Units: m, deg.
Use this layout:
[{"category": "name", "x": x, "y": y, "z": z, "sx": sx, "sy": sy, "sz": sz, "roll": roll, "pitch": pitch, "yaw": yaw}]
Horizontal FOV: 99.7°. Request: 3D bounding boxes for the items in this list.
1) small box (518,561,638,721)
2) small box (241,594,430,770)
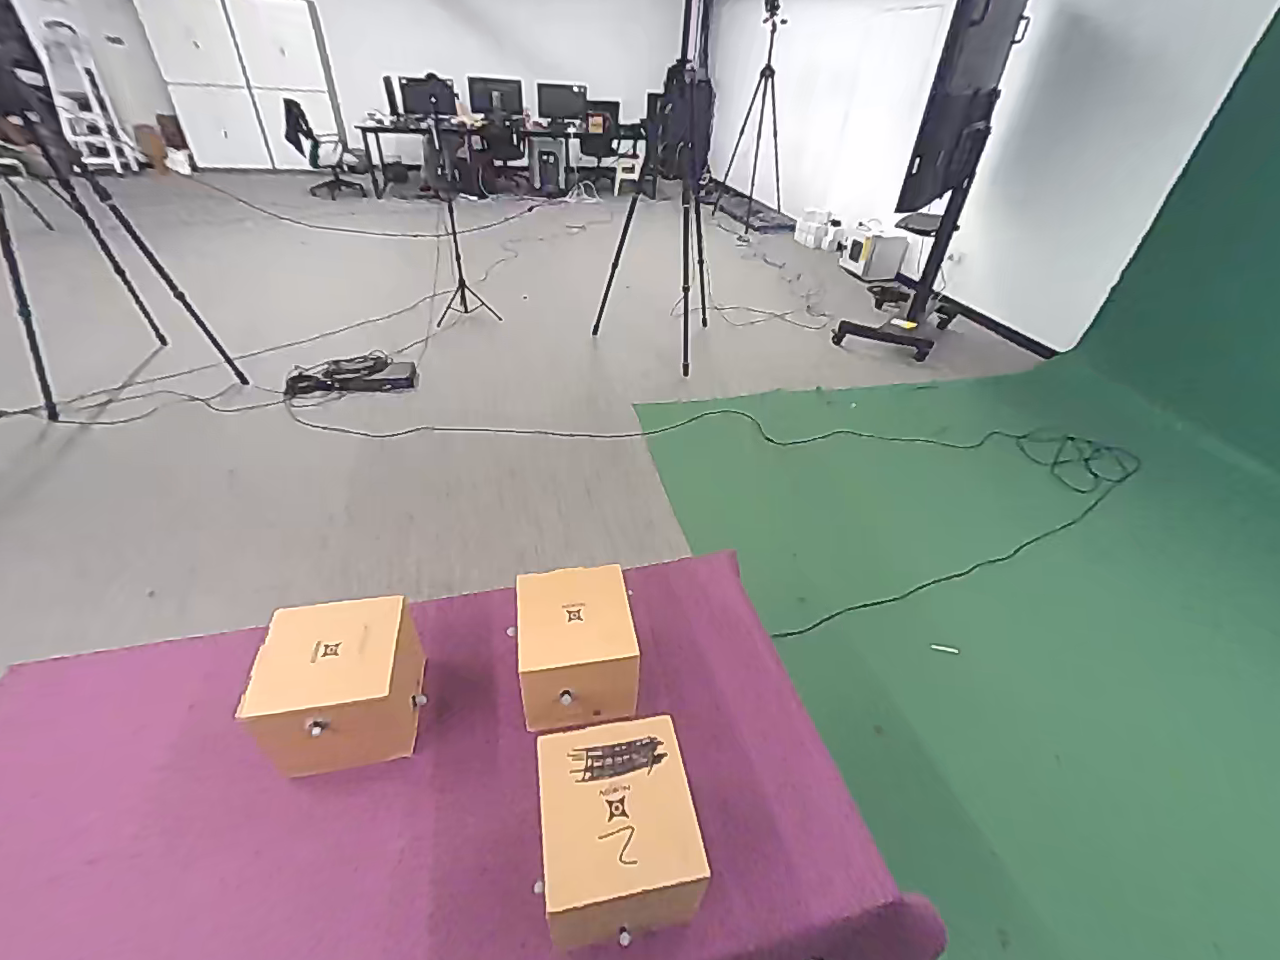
[{"category": "small box", "x": -0.097, "y": 0.253, "z": 0.842, "sx": 0.168, "sy": 0.176, "sz": 0.179, "roll": -5, "pitch": 38, "yaw": -10}, {"category": "small box", "x": -0.417, "y": 0.290, "z": 0.777, "sx": 0.179, "sy": 0.176, "sz": 0.168, "roll": -4, "pitch": 40, "yaw": -11}]
